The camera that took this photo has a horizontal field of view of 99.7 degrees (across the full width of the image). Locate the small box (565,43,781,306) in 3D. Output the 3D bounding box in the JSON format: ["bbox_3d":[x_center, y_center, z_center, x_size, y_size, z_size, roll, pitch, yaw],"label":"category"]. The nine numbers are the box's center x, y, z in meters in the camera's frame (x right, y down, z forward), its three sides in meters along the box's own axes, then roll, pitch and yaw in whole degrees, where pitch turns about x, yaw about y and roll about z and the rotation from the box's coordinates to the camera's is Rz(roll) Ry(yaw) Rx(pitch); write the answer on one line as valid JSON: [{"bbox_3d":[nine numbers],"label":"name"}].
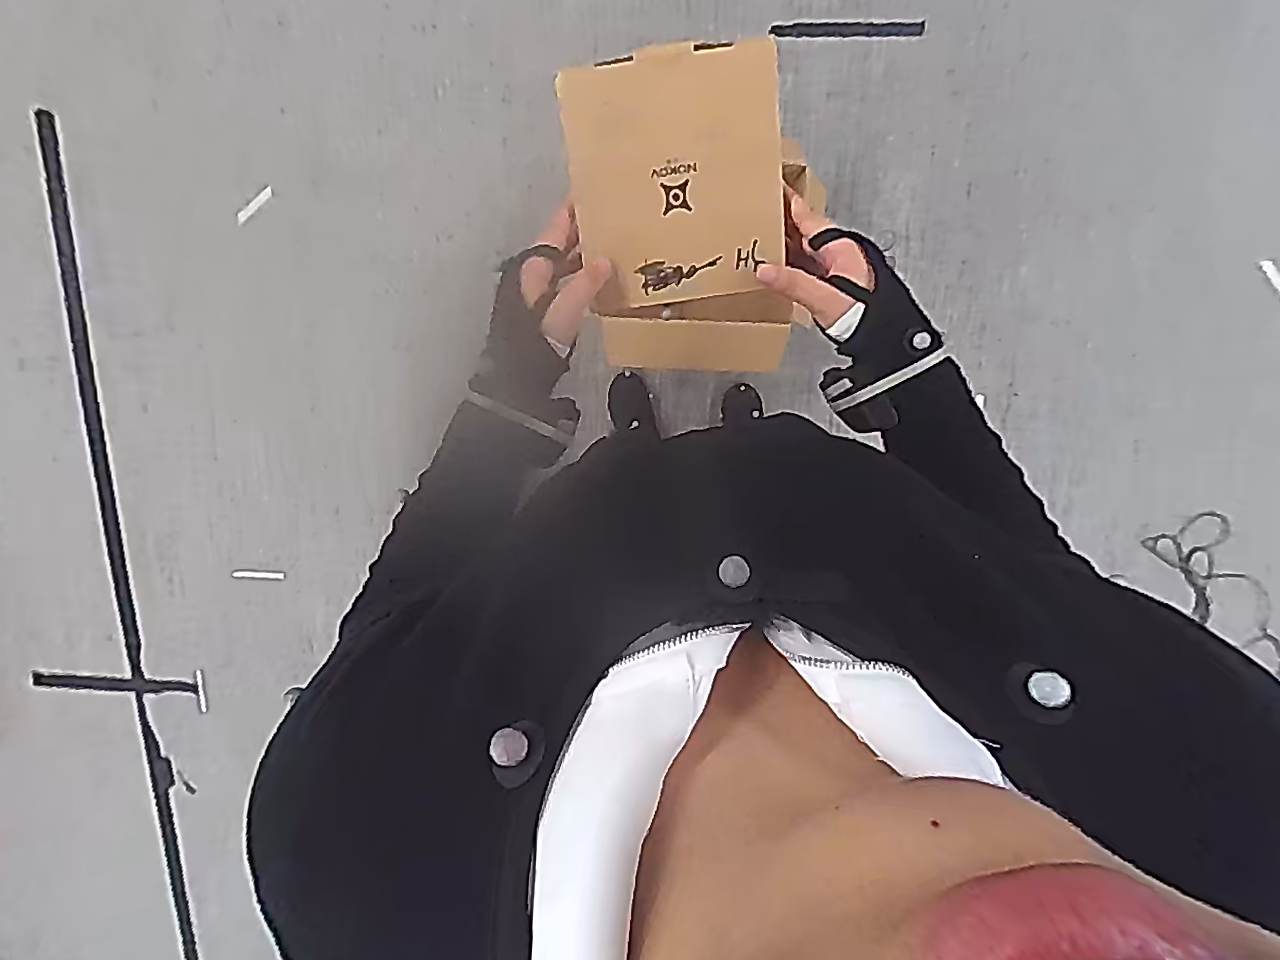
[{"bbox_3d":[0.031,-0.264,0.509,0.168,0.176,0.179,-6,110,3],"label":"small box"}]
